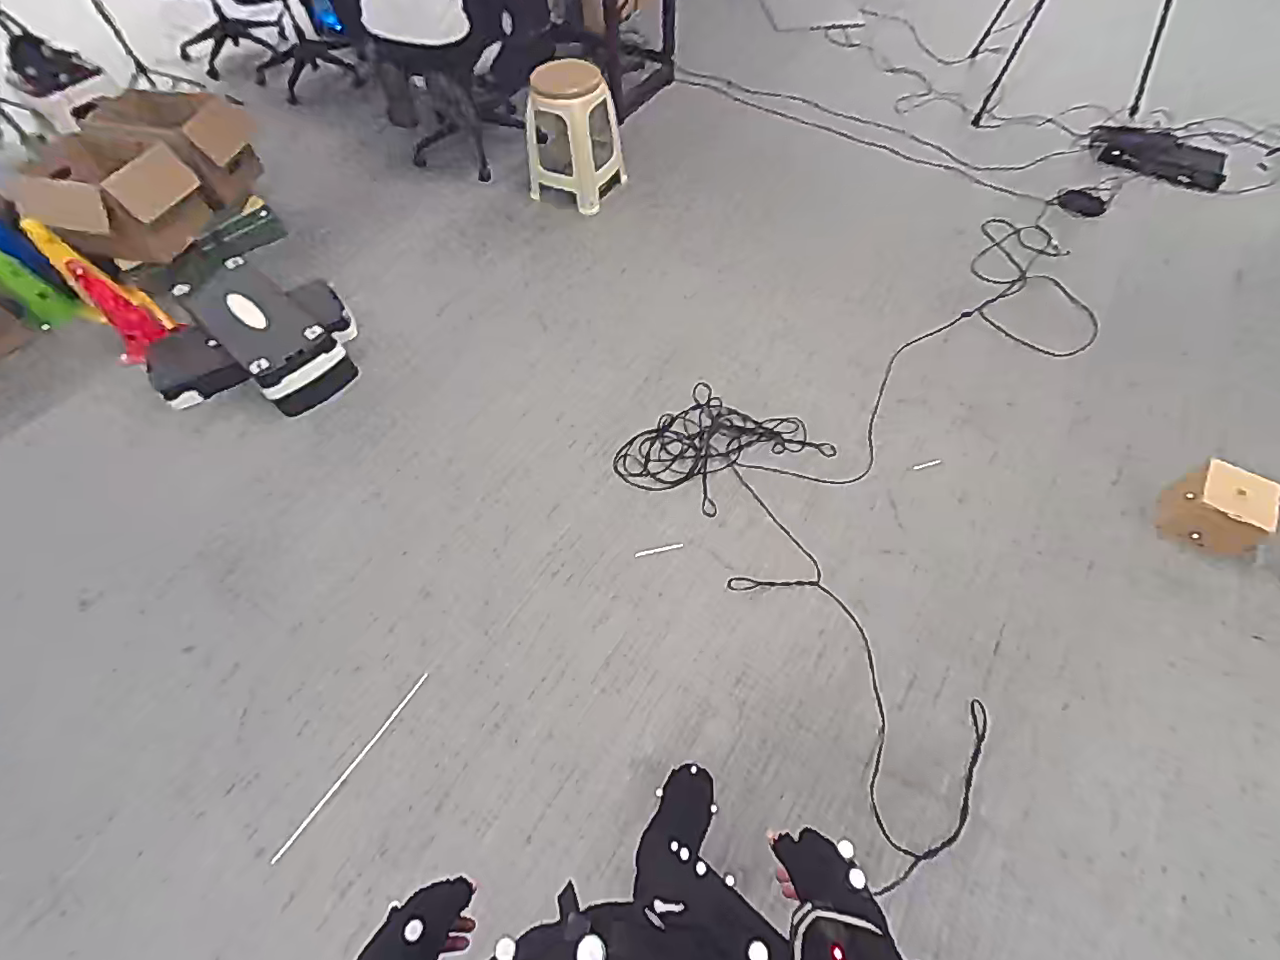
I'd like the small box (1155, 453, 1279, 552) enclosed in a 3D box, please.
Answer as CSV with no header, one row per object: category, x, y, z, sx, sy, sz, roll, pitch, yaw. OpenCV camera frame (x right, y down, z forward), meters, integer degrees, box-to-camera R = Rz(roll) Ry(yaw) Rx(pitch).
small box,1.578,0.065,1.486,0.168,0.176,0.179,29,65,19
